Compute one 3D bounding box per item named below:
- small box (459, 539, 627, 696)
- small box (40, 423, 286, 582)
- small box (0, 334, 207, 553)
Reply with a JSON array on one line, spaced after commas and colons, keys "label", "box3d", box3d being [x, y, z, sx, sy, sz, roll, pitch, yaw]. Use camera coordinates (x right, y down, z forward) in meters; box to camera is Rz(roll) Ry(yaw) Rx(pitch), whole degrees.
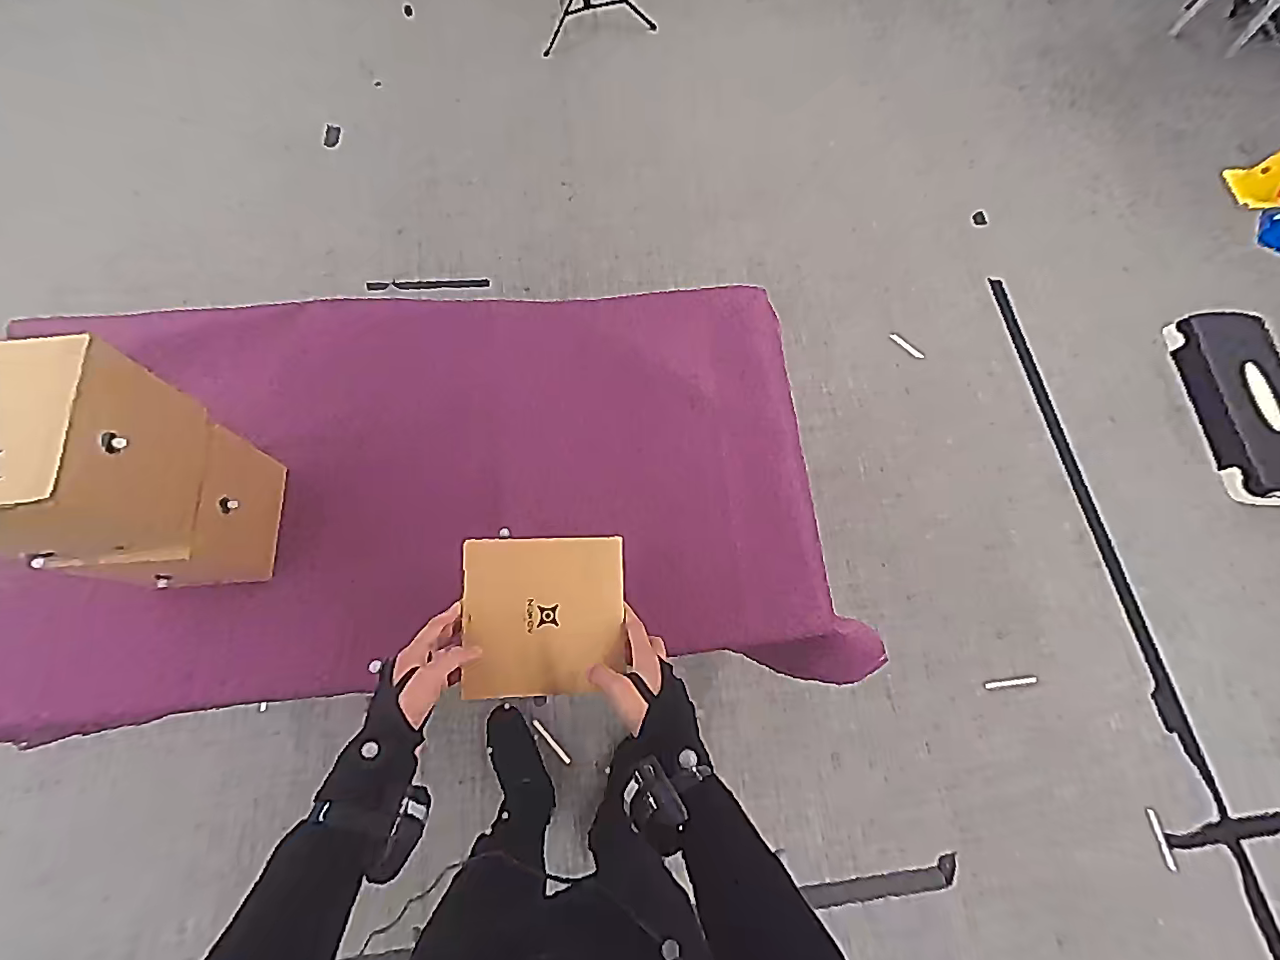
[{"label": "small box", "box3d": [-0.109, 0.158, 0.659, 0.179, 0.176, 0.168, -1, 79, -4]}, {"label": "small box", "box3d": [-0.606, 0.039, 0.717, 0.168, 0.176, 0.179, -2, 71, -5]}, {"label": "small box", "box3d": [-0.600, -0.026, 0.565, 0.168, 0.176, 0.179, -6, 71, -7]}]
